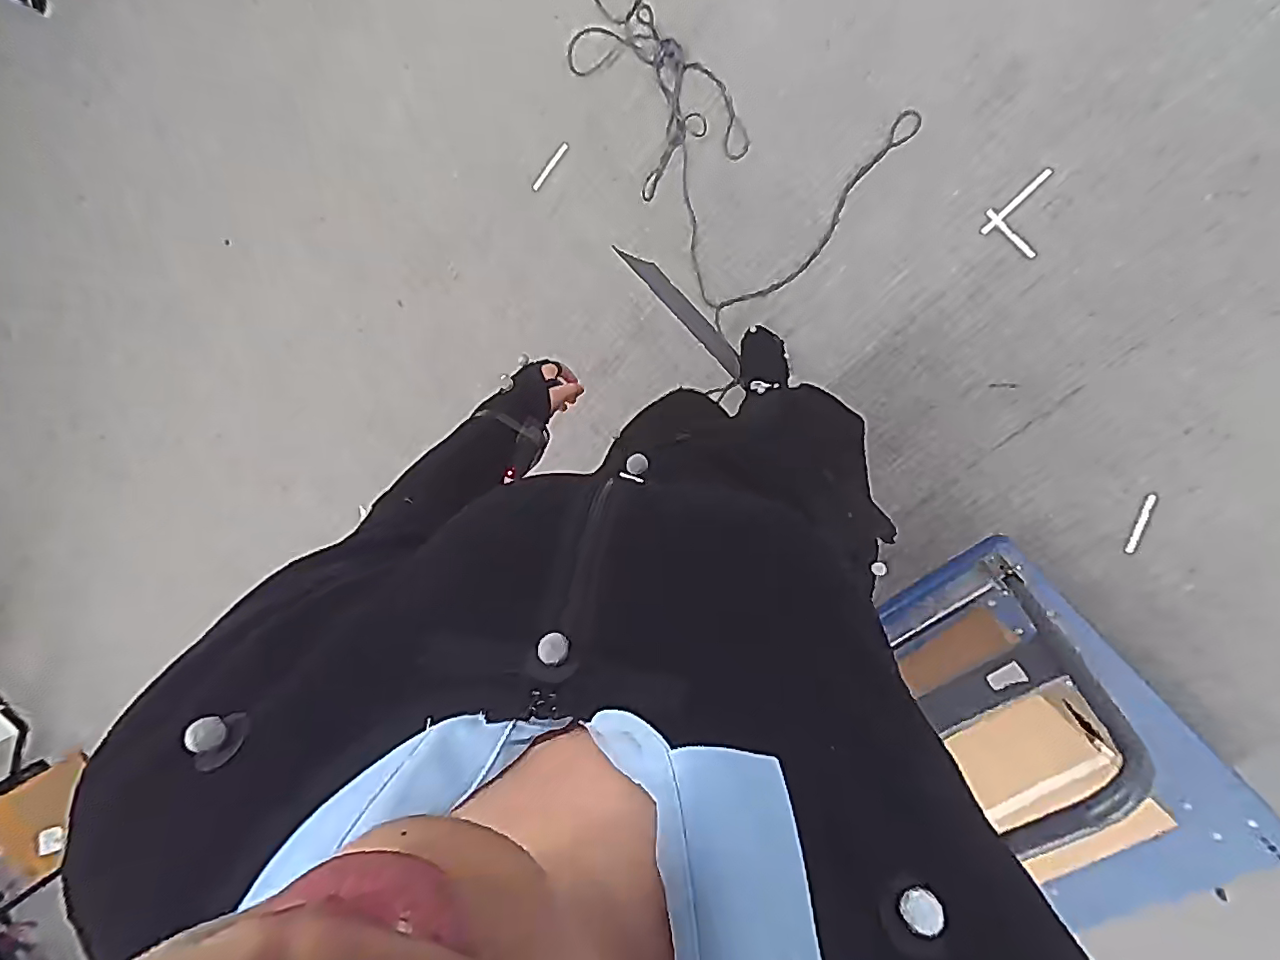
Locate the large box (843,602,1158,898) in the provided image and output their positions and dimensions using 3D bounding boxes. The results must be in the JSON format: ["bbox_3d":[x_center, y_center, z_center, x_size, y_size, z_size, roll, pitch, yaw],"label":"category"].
[{"bbox_3d":[0.680,0.535,1.115,0.320,0.320,0.408,44,114,5],"label":"large box"}]
